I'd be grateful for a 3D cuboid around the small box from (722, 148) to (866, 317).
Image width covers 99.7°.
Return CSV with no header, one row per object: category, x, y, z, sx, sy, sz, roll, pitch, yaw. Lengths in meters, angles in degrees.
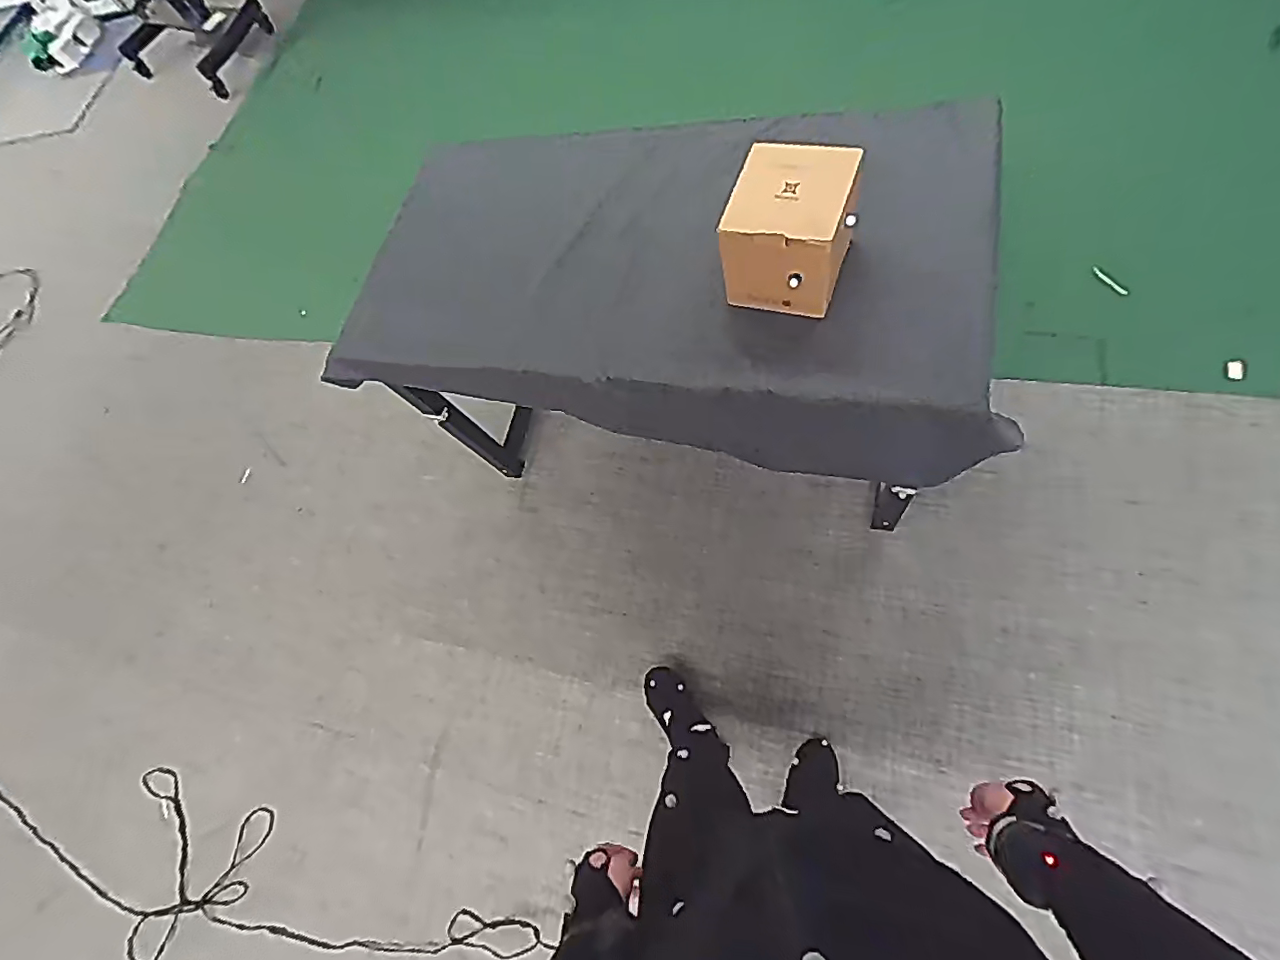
small box,0.243,-0.387,0.861,0.168,0.176,0.179,17,72,20
